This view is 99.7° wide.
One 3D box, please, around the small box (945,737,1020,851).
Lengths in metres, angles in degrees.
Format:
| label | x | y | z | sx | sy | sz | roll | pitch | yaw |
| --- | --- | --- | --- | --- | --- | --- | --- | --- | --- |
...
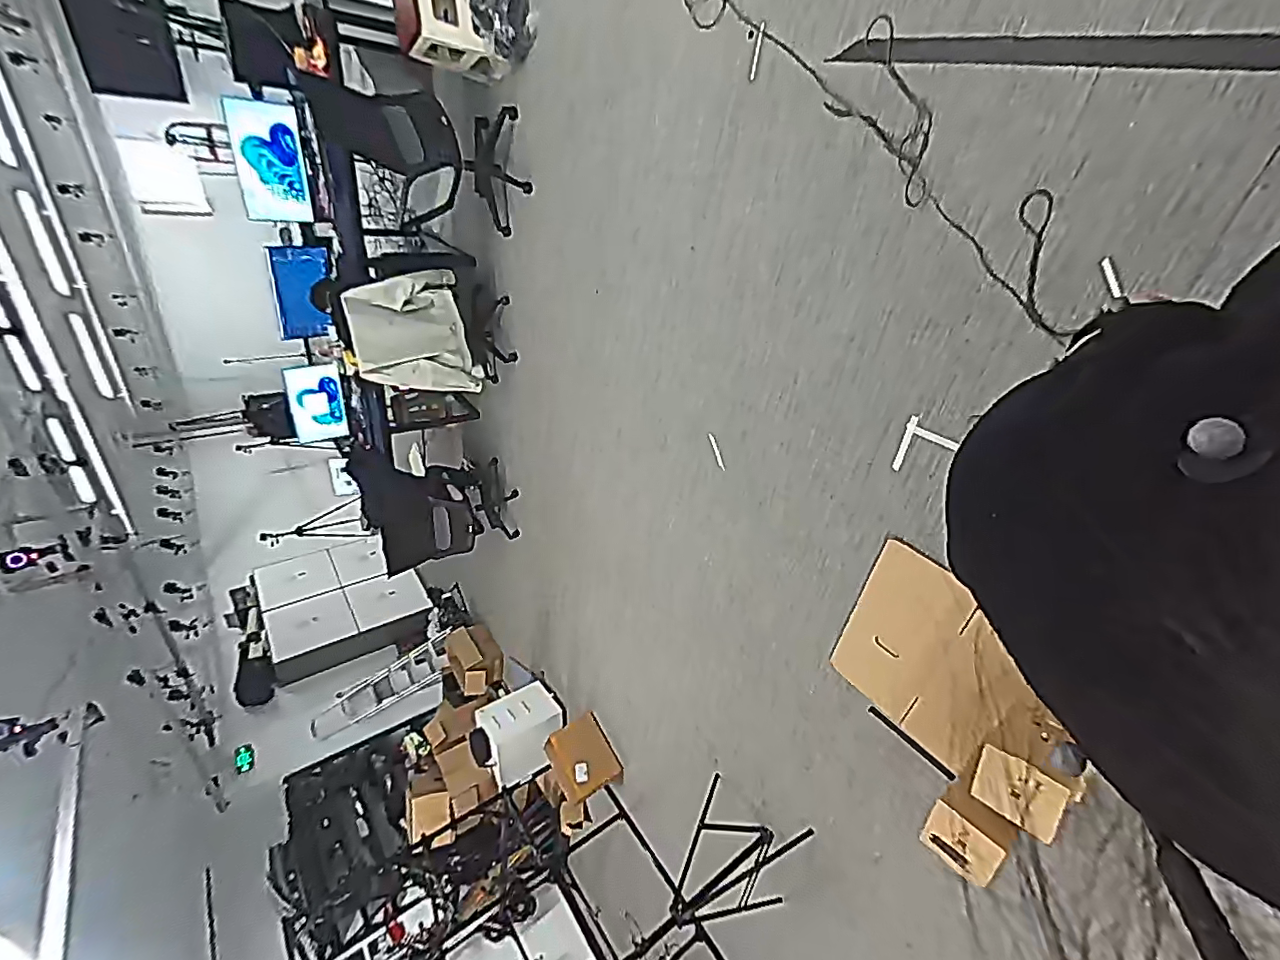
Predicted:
| label | x | y | z | sx | sy | sz | roll | pitch | yaw |
| --- | --- | --- | --- | --- | --- | --- | --- | --- | --- |
| small box | 0.989 | 0.864 | 1.501 | 0.168 | 0.176 | 0.179 | 29 | 126 | 44 |

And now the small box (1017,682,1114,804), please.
| label | x | y | z | sx | sy | sz | roll | pitch | yaw |
| --- | --- | --- | --- | --- | --- | --- | --- | --- | --- |
| small box | 1.036 | 0.639 | 1.339 | 0.168 | 0.176 | 0.179 | 24 | 122 | 48 |

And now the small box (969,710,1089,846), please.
| label | x | y | z | sx | sy | sz | roll | pitch | yaw |
| --- | --- | --- | --- | --- | --- | --- | --- | --- | --- |
| small box | 0.901 | 0.681 | 1.253 | 0.168 | 0.176 | 0.179 | 24 | 122 | 46 |
